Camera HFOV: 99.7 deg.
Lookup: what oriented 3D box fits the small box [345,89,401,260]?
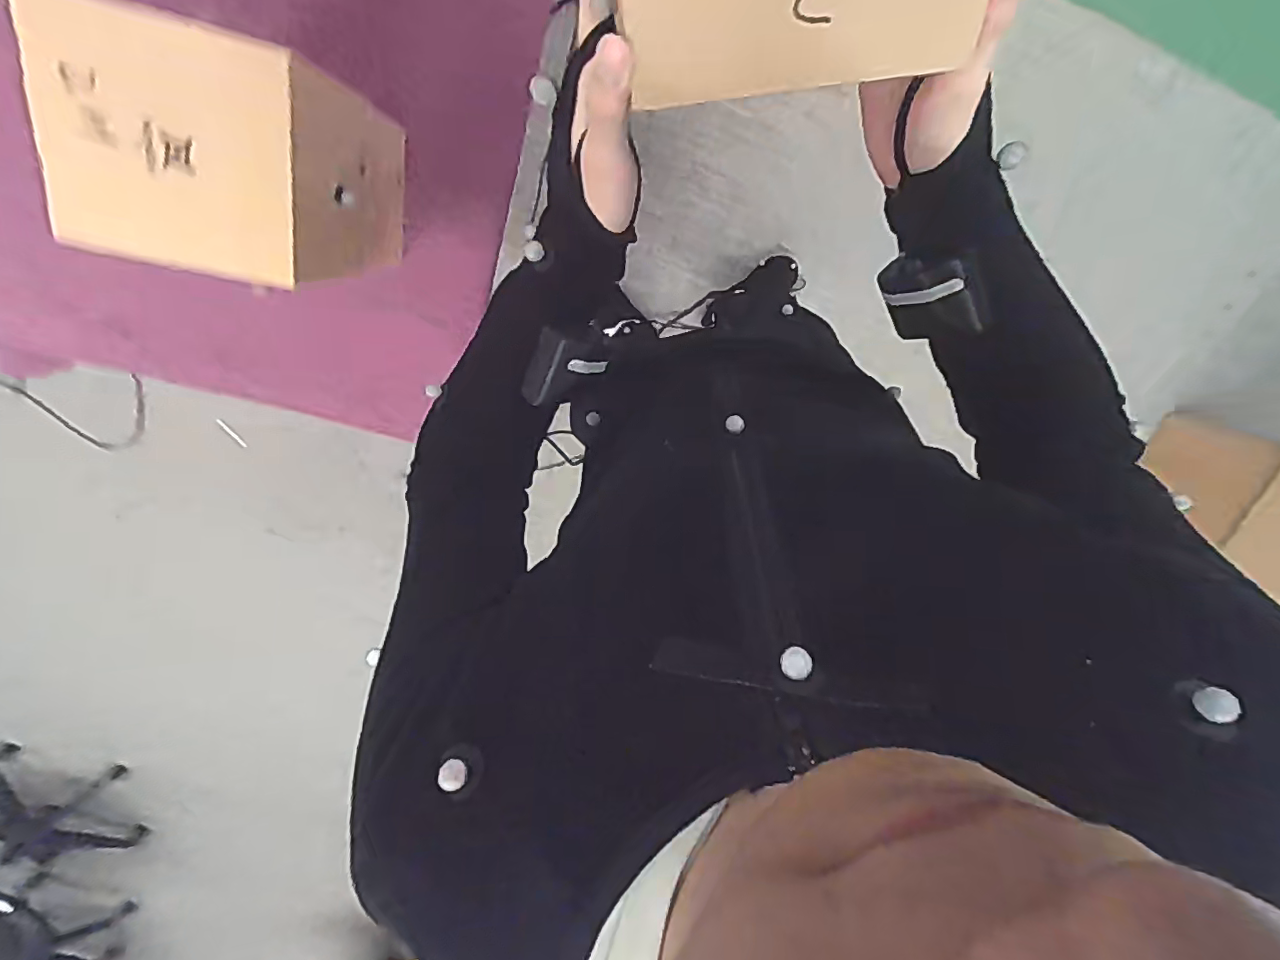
[{"bbox_3d":[-0.389,-0.349,0.606,0.179,0.176,0.168,9,114,-9],"label":"small box"}]

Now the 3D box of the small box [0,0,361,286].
[{"bbox_3d":[-0.357,-0.277,0.460,0.179,0.176,0.168,10,113,-10],"label":"small box"}]
